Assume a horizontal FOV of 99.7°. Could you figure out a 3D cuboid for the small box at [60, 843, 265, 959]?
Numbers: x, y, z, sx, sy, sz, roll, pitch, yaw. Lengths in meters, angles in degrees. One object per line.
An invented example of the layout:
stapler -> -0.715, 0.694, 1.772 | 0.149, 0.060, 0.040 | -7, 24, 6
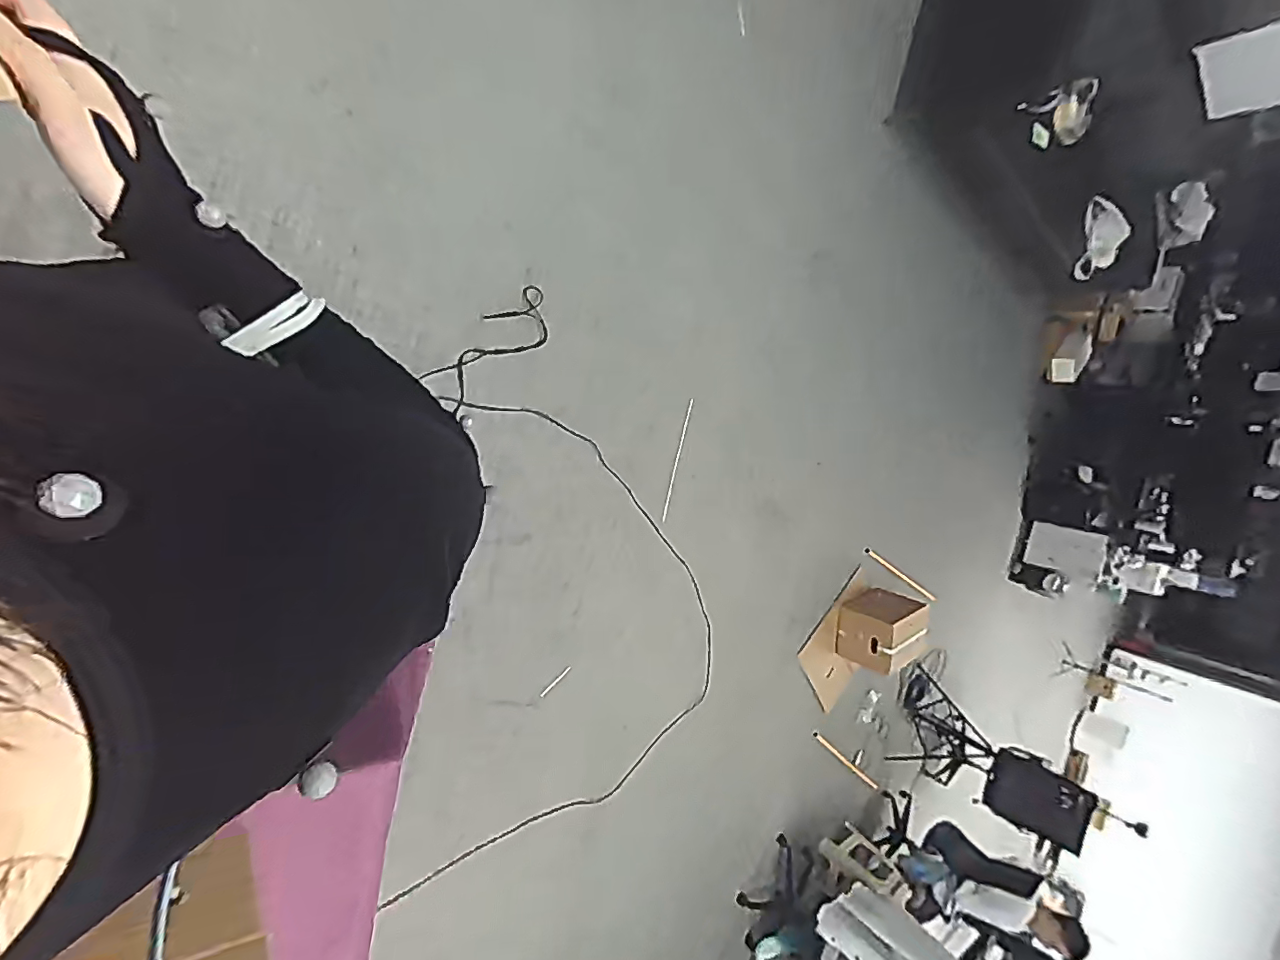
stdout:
small box -> -0.537, 0.549, 0.603 | 0.168, 0.176, 0.179 | 8, 96, -39
